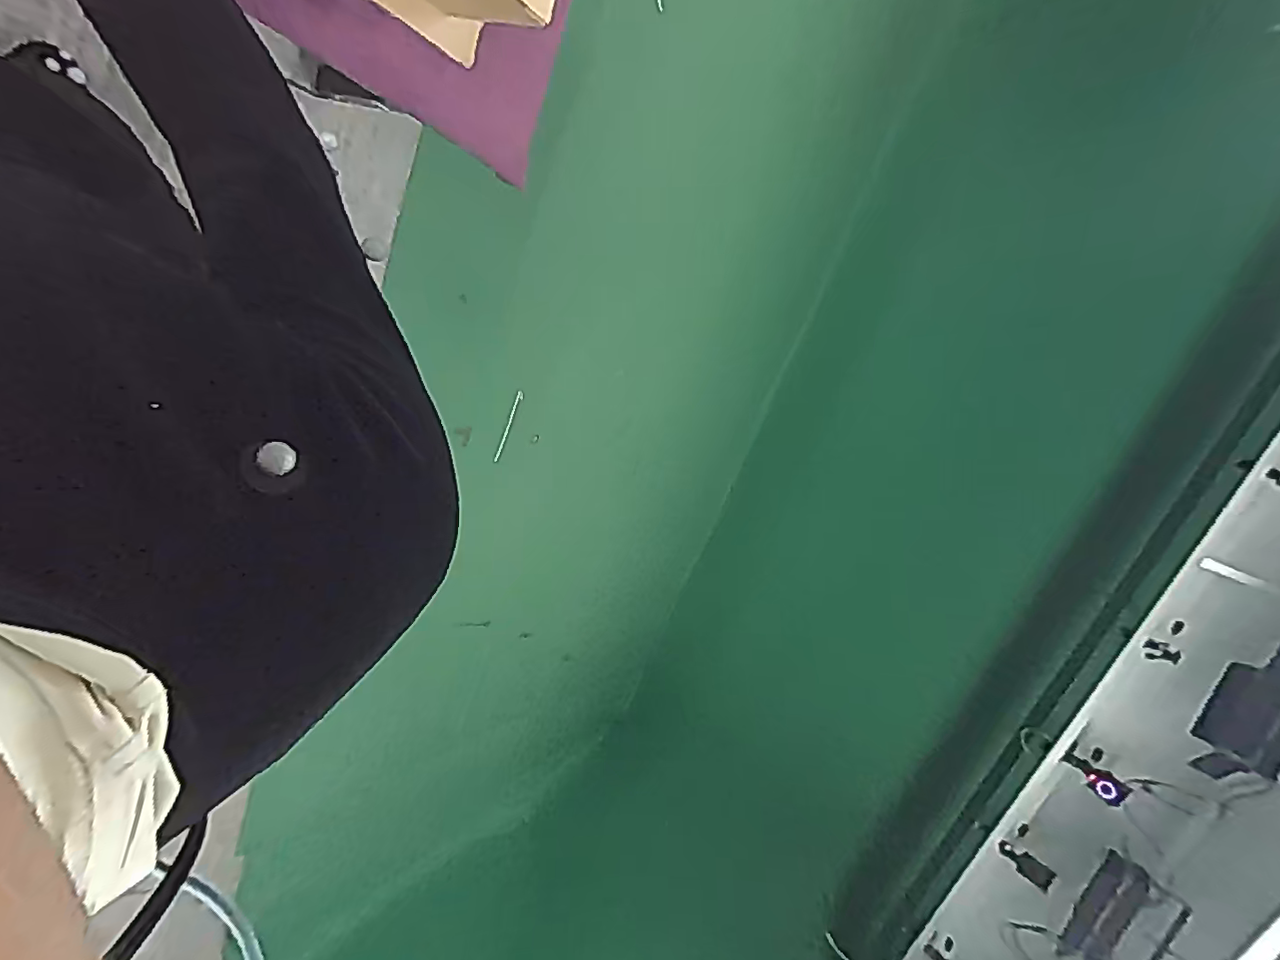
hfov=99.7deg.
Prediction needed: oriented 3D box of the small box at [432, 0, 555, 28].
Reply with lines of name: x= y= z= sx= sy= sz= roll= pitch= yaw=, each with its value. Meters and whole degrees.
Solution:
small box: x=-0.176 y=-0.587 z=0.521 sx=0.168 sy=0.176 sz=0.179 roll=-8 pitch=123 yaw=-58
